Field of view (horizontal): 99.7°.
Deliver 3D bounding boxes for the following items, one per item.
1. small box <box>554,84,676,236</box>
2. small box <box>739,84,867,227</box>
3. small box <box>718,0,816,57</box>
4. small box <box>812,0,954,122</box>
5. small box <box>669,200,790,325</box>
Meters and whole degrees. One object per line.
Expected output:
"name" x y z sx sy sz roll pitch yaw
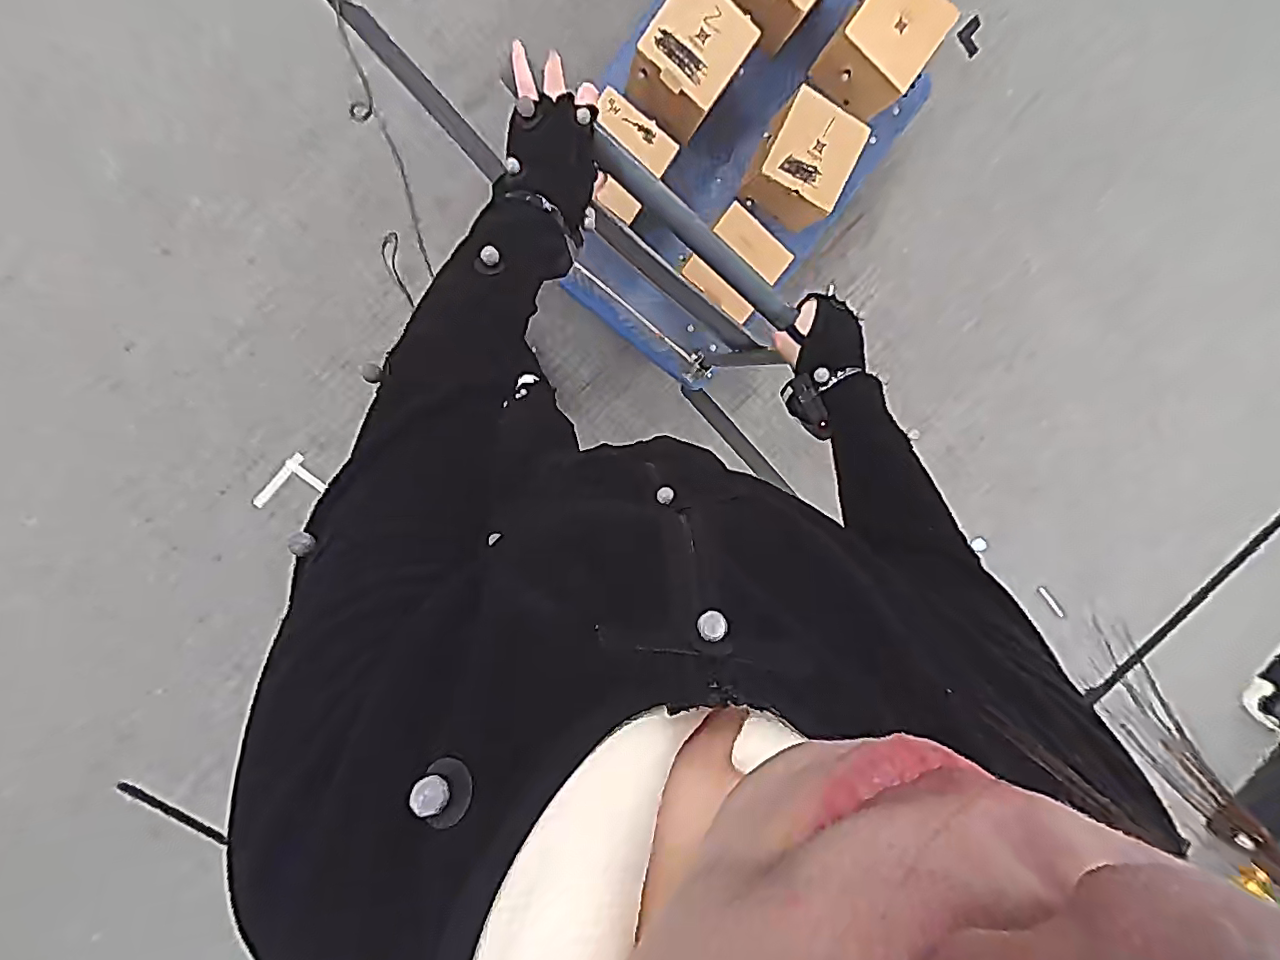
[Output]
"small box" -0.055 -0.618 1.076 0.168 0.176 0.179 33 96 -16
"small box" 0.327 -0.660 1.130 0.168 0.176 0.179 25 97 -14
"small box" 0.278 -0.990 1.046 0.168 0.176 0.179 39 95 -15
"small box" 0.480 -0.885 1.105 0.168 0.176 0.179 34 95 -14
"small box" 0.179 -0.450 1.155 0.168 0.176 0.179 37 94 -16
